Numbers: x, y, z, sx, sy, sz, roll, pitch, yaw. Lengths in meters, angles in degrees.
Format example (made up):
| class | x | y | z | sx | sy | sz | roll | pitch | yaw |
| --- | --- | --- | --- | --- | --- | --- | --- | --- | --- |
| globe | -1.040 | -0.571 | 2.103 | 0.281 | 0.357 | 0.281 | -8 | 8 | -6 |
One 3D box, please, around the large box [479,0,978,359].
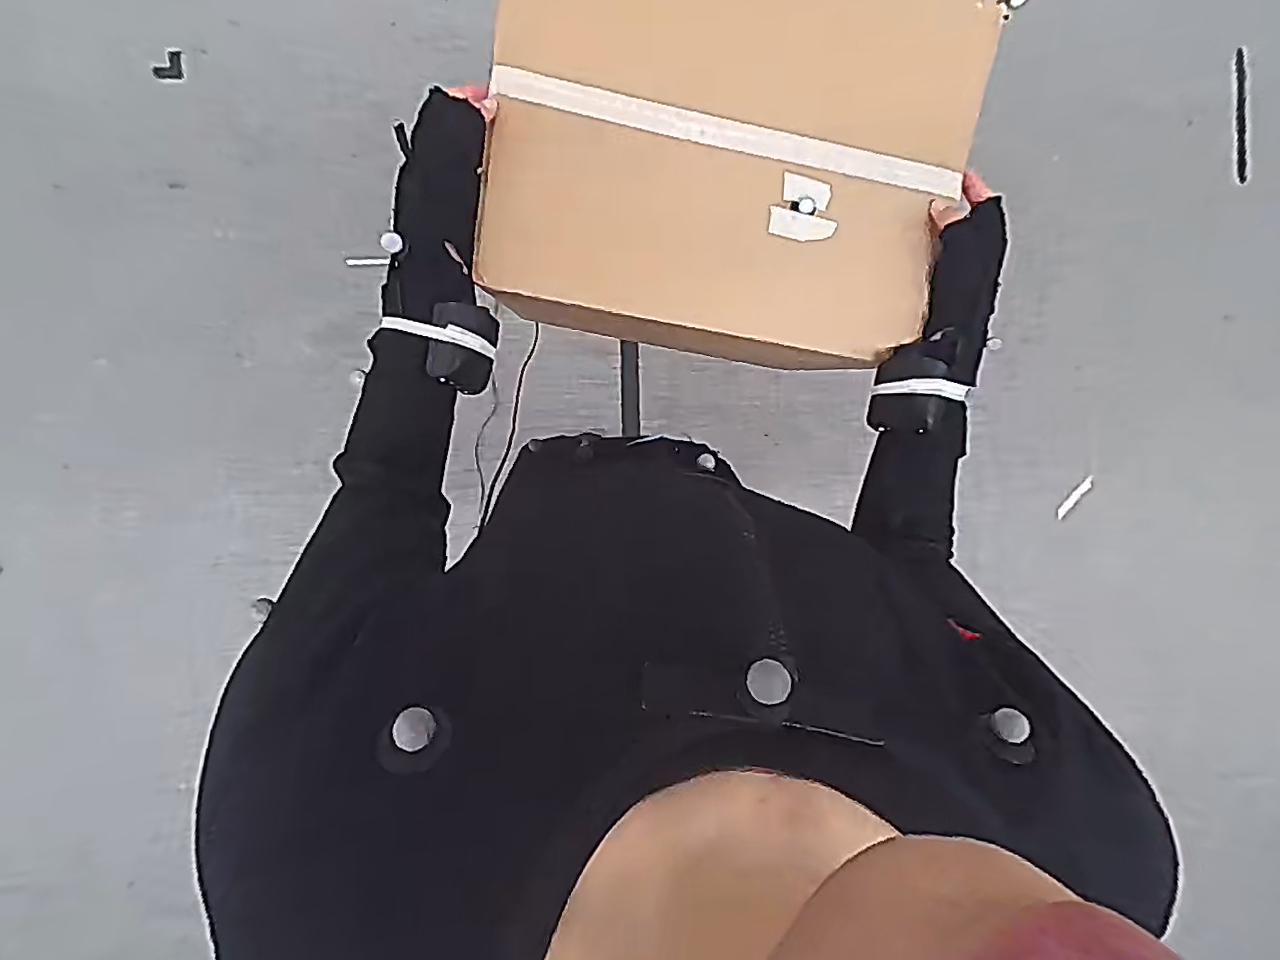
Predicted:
| class | x | y | z | sx | sy | sz | roll | pitch | yaw |
| --- | --- | --- | --- | --- | --- | --- | --- | --- | --- |
| large box | 0.060 | -0.324 | 0.612 | 0.408 | 0.320 | 0.320 | 8 | 102 | -7 |
